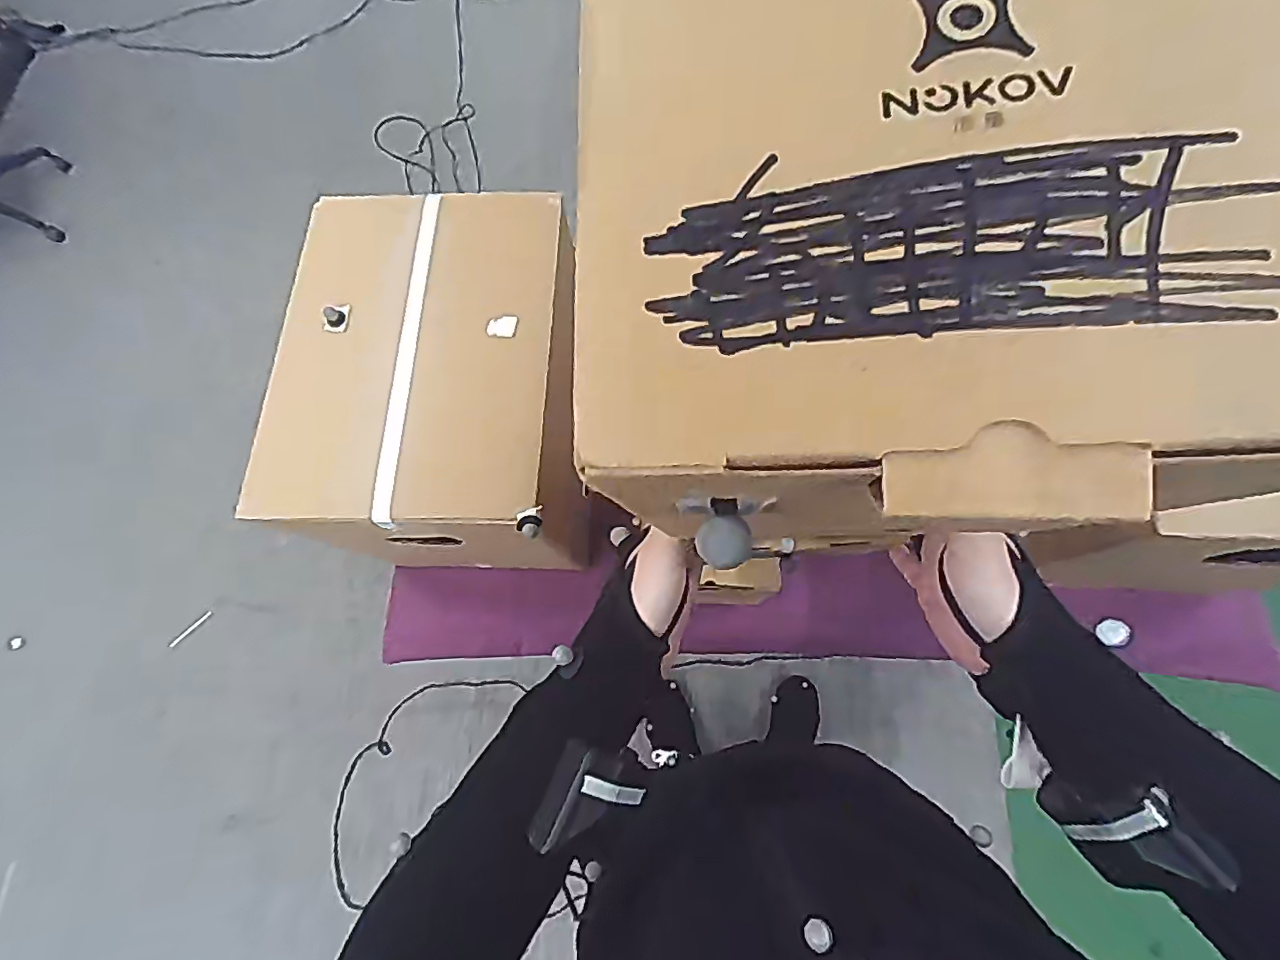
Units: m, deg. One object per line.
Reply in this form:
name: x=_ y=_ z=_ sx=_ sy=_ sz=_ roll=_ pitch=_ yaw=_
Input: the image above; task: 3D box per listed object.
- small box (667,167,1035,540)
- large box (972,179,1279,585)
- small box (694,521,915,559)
small box: x=0.107 y=-0.057 z=0.349 sx=0.168 sy=0.176 sz=0.179 roll=-4 pitch=80 yaw=8
large box: x=0.626 y=-0.091 z=0.668 sx=0.320 sy=0.320 sz=0.408 roll=1 pitch=73 yaw=5
small box: x=0.133 y=-0.021 z=0.505 sx=0.168 sy=0.176 sz=0.179 roll=-4 pitch=79 yaw=9
